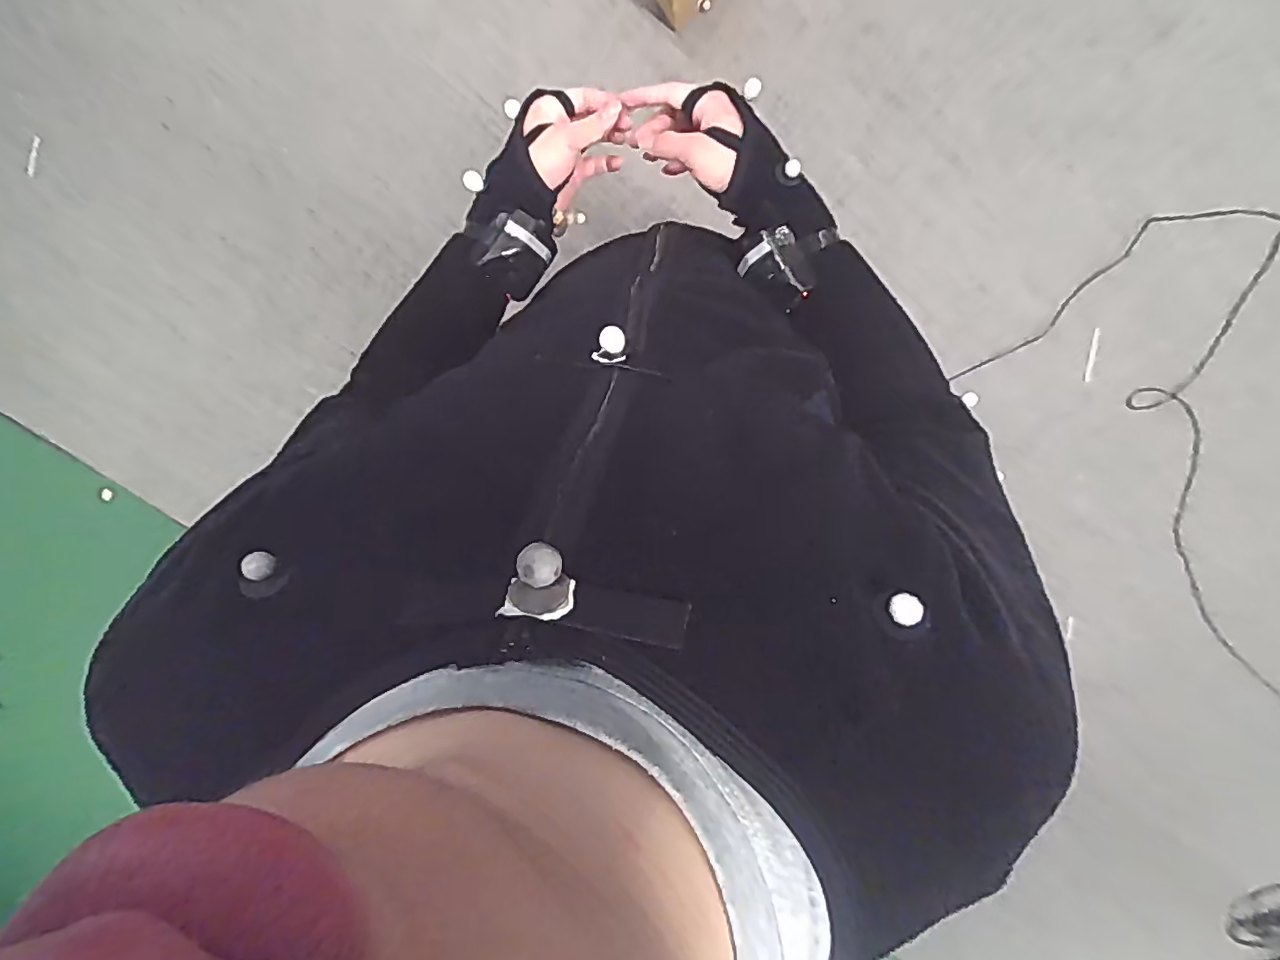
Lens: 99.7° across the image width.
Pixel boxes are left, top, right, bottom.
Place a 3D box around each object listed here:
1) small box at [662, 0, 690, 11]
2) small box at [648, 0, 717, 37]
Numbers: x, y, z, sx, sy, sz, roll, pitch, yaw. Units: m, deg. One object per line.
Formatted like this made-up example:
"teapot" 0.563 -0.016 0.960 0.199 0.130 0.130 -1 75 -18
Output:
"small box" 0.064 -0.973 0.930 0.168 0.176 0.179 -35 108 21
"small box" 0.079 -1.043 1.078 0.168 0.176 0.179 -36 108 21
